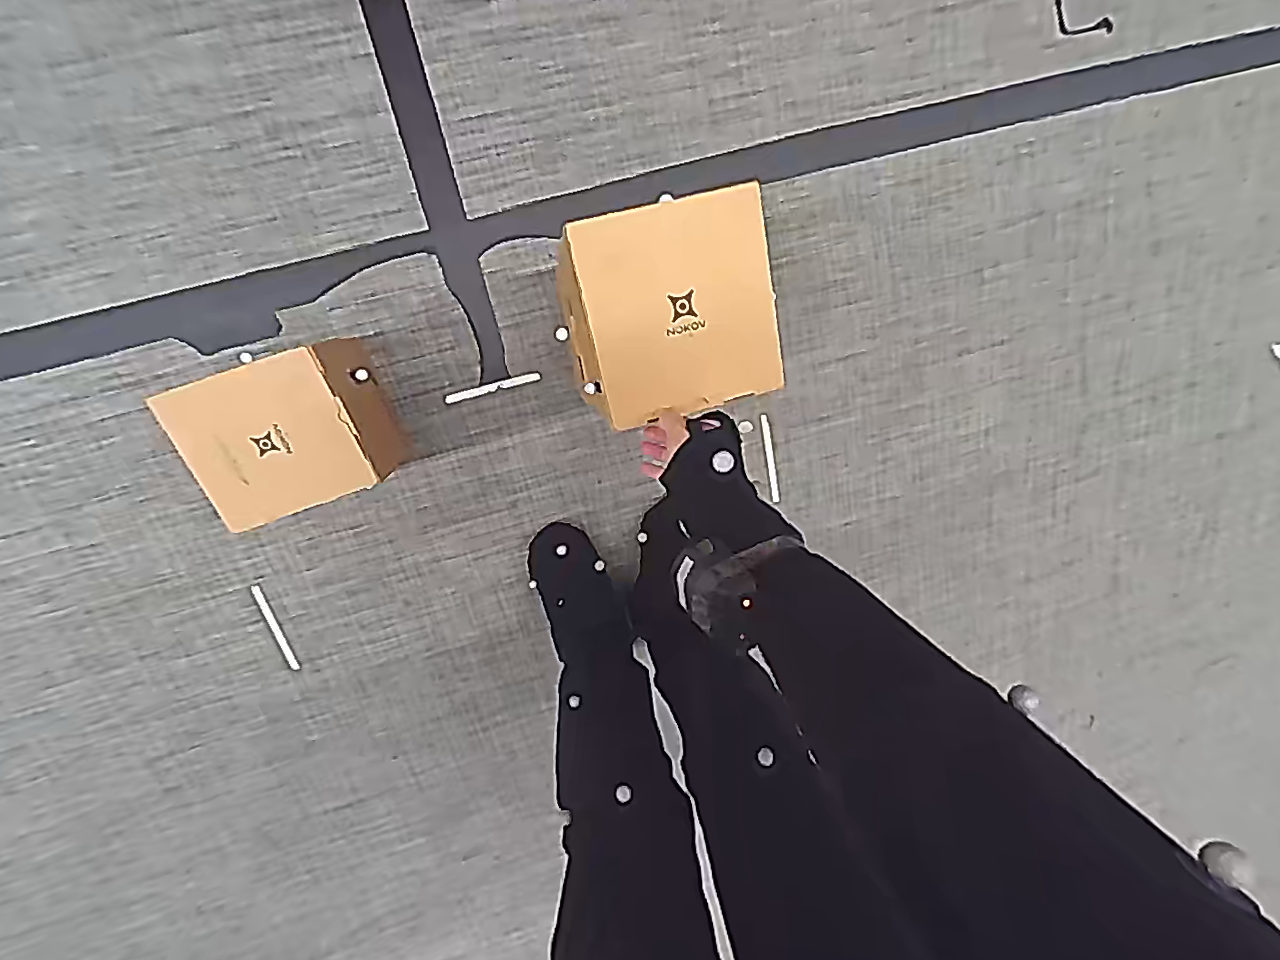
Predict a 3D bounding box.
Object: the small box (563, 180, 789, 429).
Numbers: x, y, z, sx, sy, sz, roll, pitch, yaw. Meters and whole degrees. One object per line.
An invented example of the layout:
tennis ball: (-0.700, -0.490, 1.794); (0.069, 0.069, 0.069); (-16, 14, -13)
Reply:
small box: (0.026, -0.167, 0.532); (0.168, 0.176, 0.179); (-16, 110, -6)

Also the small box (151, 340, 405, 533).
small box: (-0.409, -0.064, 0.657); (0.179, 0.176, 0.168); (-20, 109, -3)

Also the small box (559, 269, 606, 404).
small box: (0.000, -0.203, 0.689); (0.179, 0.176, 0.168); (-11, 109, -8)
